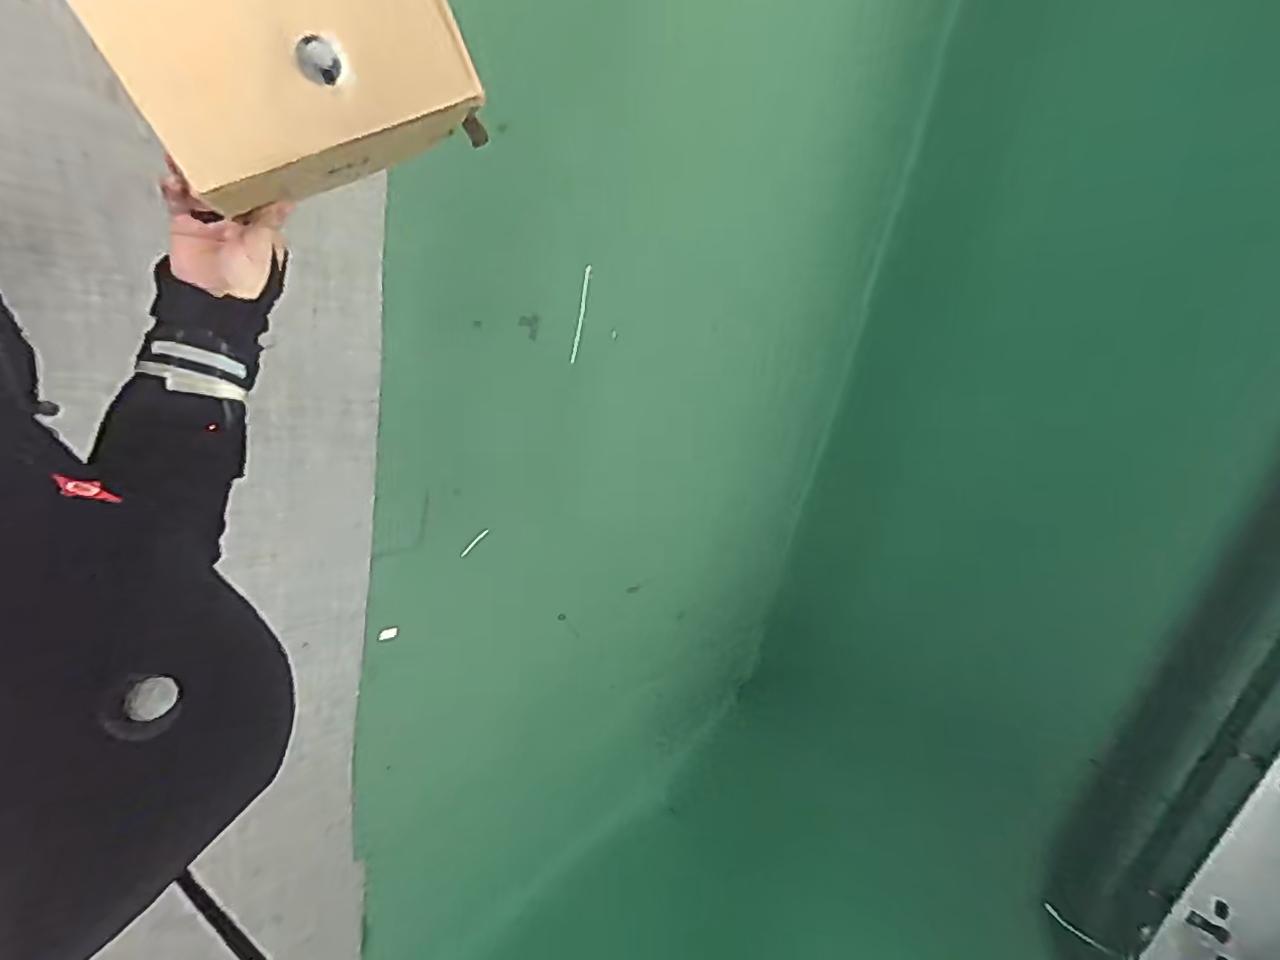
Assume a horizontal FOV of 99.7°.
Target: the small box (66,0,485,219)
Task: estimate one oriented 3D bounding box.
[{"bbox_3d":[-0.229,-0.284,0.332,0.179,0.168,0.176,-32,121,-18],"label":"small box"}]
